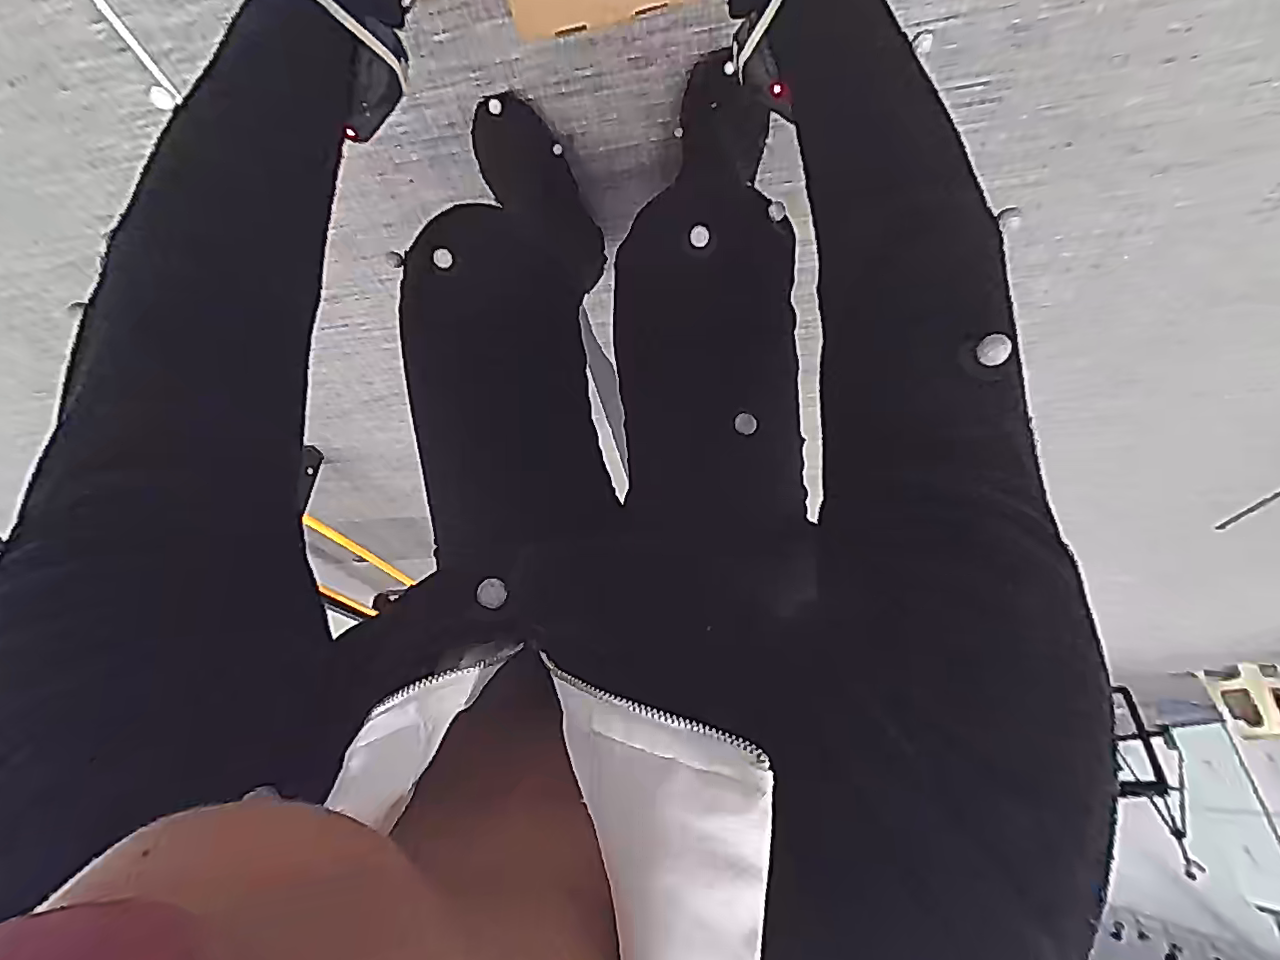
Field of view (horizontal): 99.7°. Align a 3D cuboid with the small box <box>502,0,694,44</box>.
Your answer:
[{"bbox_3d":[-0.047,-0.507,0.433,0.168,0.176,0.179,-6,151,10],"label":"small box"}]

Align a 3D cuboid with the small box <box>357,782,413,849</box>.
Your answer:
[{"bbox_3d":[-0.850,1.054,1.707,0.179,0.176,0.168,-5,151,8],"label":"small box"}]
